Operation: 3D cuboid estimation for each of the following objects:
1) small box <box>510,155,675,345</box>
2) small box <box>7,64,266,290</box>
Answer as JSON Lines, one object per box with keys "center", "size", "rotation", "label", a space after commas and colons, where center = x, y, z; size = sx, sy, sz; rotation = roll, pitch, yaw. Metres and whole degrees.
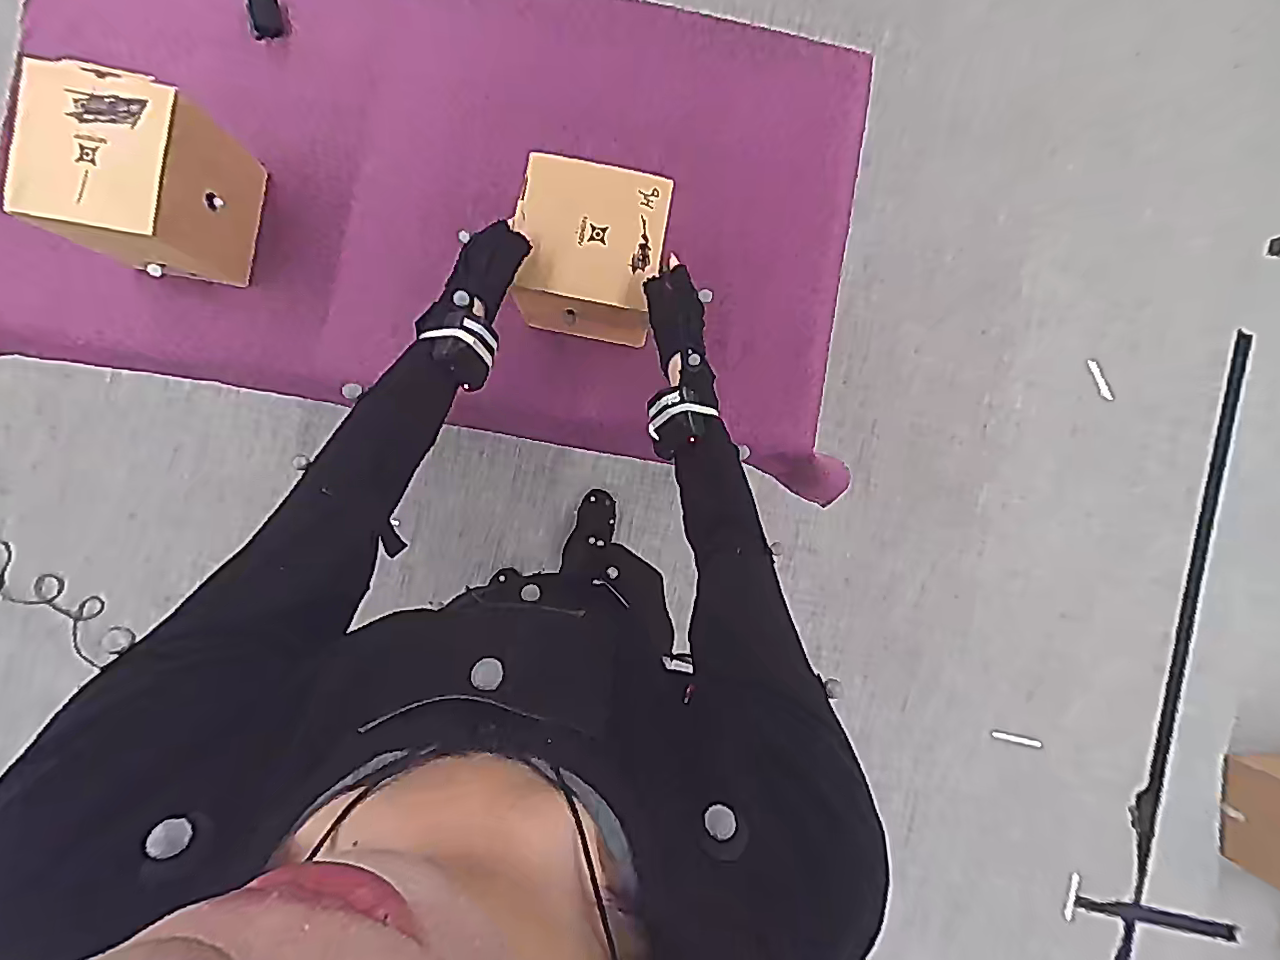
{"center": [-0.060, -0.292, 0.724], "size": [0.179, 0.176, 0.168], "rotation": [10, 88, -3], "label": "small box"}
{"center": [-0.620, -0.370, 0.692], "size": [0.168, 0.176, 0.179], "rotation": [9, 89, -3], "label": "small box"}
